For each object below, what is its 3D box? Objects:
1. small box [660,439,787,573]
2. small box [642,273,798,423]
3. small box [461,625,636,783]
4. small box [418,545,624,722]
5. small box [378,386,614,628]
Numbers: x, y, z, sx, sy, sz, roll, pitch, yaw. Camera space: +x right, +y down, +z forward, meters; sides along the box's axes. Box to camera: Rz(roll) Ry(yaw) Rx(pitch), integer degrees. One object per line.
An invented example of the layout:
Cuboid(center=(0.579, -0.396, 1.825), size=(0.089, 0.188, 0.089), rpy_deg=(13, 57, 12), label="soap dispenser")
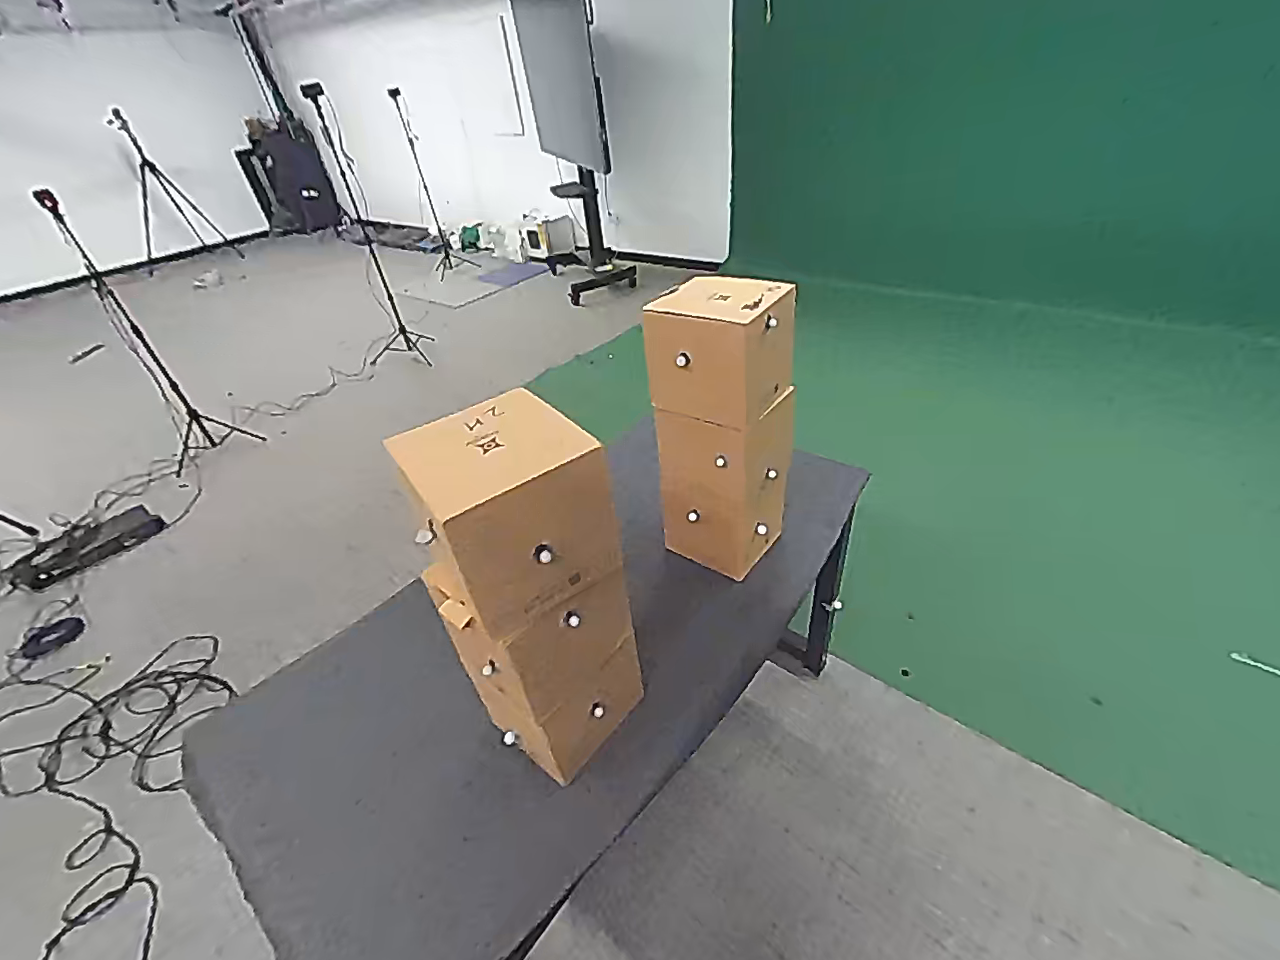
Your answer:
Cuboid(center=(0.161, 0.052, 1.034), size=(0.179, 0.176, 0.168), rpy_deg=(22, 46, 34), label="small box")
Cuboid(center=(0.126, -0.206, 0.834), size=(0.179, 0.176, 0.168), rpy_deg=(19, 45, 32), label="small box")
Cuboid(center=(-0.119, 0.284, 0.776), size=(0.168, 0.176, 0.179), rpy_deg=(23, 47, 34), label="small box")
Cuboid(center=(-0.135, 0.158, 0.675), size=(0.168, 0.176, 0.179), rpy_deg=(25, 47, 34), label="small box")
Cuboid(center=(-0.143, 0.029, 0.573), size=(0.168, 0.176, 0.179), rpy_deg=(-28, 42, -26), label="small box")
